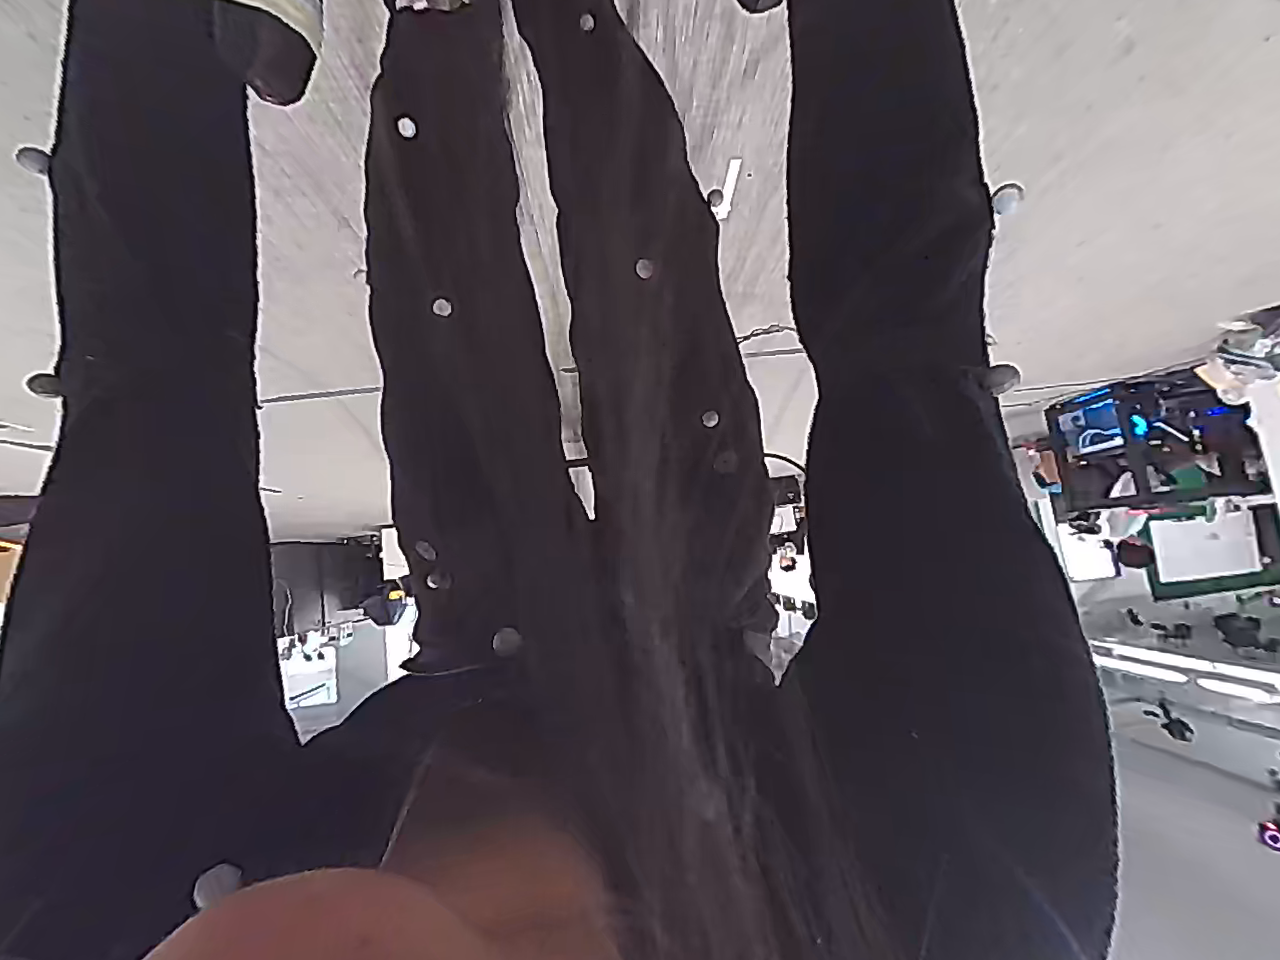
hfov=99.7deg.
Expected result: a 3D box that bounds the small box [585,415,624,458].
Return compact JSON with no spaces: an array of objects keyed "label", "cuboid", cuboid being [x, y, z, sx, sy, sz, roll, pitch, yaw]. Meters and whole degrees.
[{"label":"small box","cuboid":[-0.170,-0.207,2.565,0.168,0.176,0.179,-6,173,-5]}]
